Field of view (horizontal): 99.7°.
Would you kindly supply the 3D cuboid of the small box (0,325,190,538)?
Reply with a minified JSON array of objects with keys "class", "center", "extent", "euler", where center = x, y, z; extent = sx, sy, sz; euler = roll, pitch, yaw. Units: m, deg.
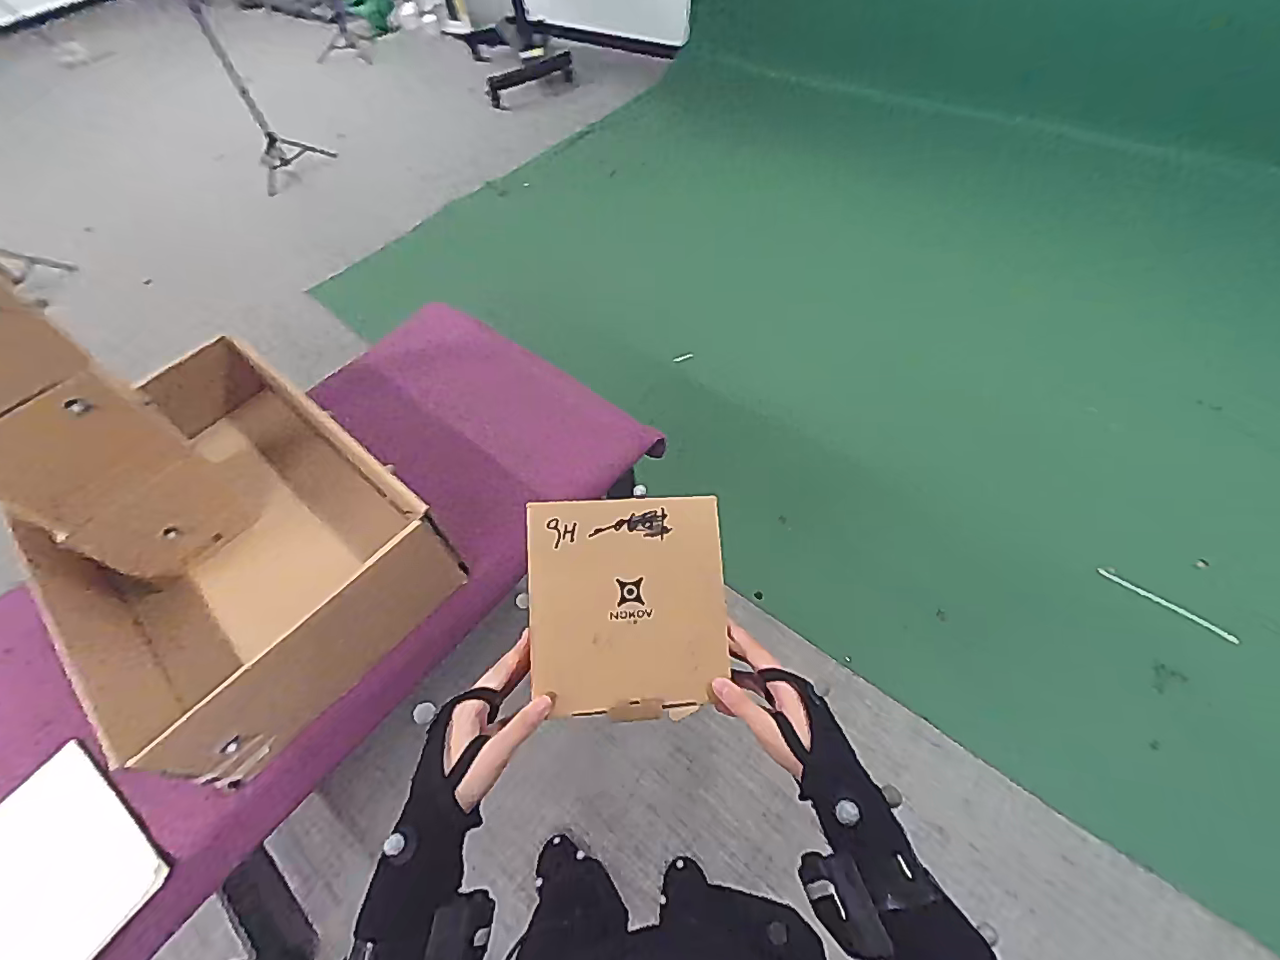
[{"class":"small box","center":[-0.747,-0.058,0.691],"extent":[0.168,0.176,0.179],"euler":[32,64,23]}]

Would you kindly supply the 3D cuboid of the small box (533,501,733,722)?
[{"class":"small box","center":[-0.016,0.116,0.527],"extent":[0.168,0.176,0.179],"euler":[-1,81,-9]}]

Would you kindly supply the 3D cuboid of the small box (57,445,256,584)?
[{"class":"small box","center":[-0.741,0.035,0.823],"extent":[0.179,0.176,0.168],"euler":[35,65,24]}]
